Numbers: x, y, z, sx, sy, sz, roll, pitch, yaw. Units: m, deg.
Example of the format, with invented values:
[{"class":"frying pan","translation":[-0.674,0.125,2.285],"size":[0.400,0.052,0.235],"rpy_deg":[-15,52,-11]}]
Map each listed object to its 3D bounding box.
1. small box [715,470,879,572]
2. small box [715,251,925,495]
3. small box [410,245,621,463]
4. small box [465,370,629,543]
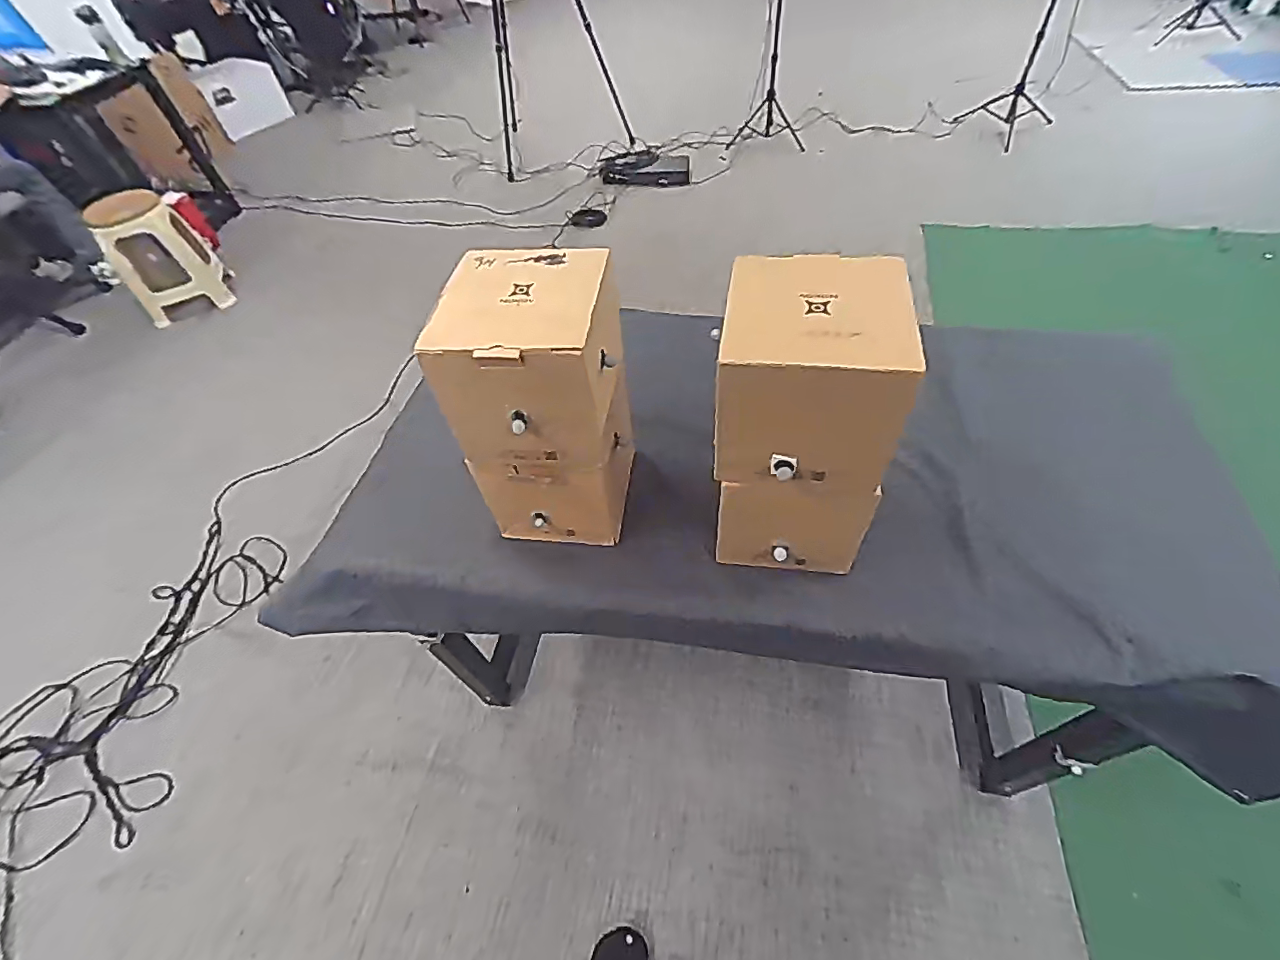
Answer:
[{"class":"small box","translation":[0.183,-0.008,0.675],"size":[0.168,0.176,0.179],"rpy_deg":[4,52,9]},{"class":"small box","translation":[0.167,-0.109,0.549],"size":[0.168,0.176,0.179],"rpy_deg":[4,53,11]},{"class":"small box","translation":[-0.117,-0.134,0.600],"size":[0.168,0.176,0.179],"rpy_deg":[2,53,7]},{"class":"small box","translation":[-0.109,-0.036,0.731],"size":[0.168,0.176,0.179],"rpy_deg":[3,53,8]}]
